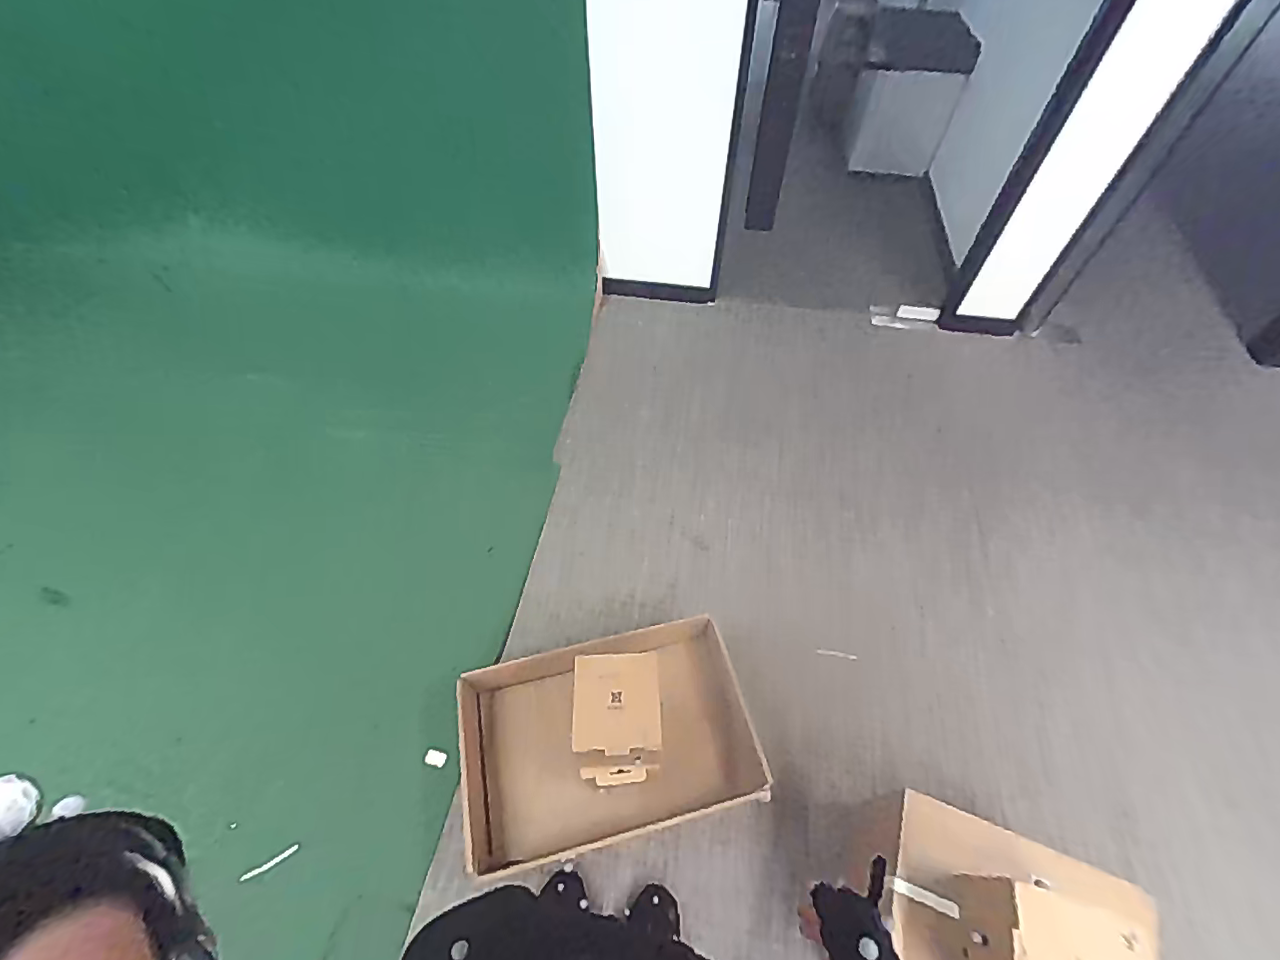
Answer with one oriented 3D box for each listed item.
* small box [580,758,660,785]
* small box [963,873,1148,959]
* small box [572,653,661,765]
[{"bbox_3d":[-0.045,0.570,1.206,0.168,0.176,0.179,-6,53,-3],"label":"small box"},{"bbox_3d":[0.596,0.703,0.792,0.179,0.176,0.168,14,56,10],"label":"small box"},{"bbox_3d":[-0.043,0.464,1.083,0.168,0.176,0.179,-2,52,-2],"label":"small box"}]
